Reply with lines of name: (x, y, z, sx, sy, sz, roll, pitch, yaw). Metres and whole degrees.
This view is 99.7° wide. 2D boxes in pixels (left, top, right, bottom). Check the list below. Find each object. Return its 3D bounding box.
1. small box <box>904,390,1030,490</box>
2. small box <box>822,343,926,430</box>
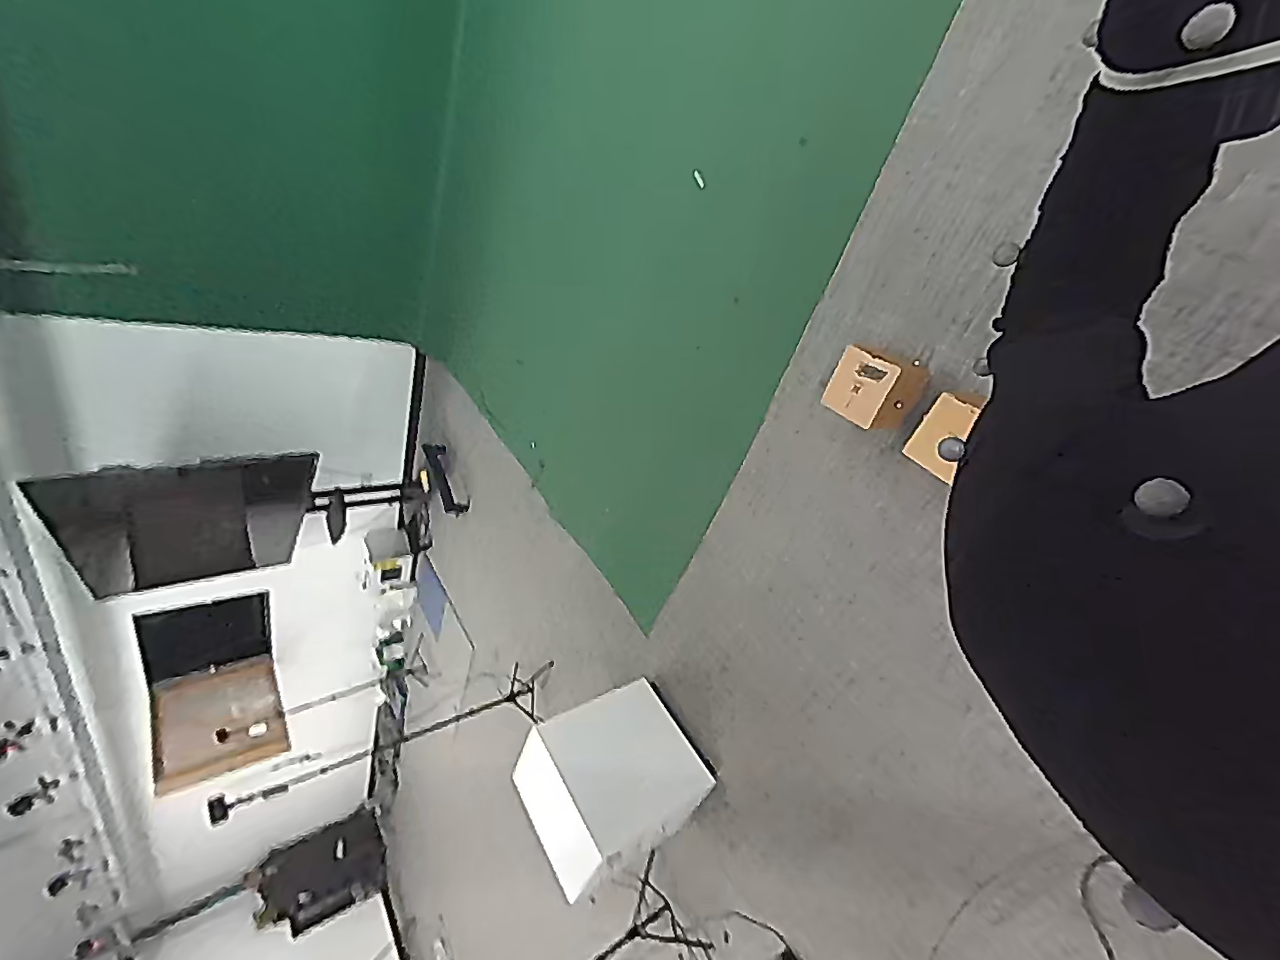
small box: (0.786, -0.098, 1.296, 0.168, 0.176, 0.179, 47, 128, 36)
small box: (0.636, -0.251, 1.458, 0.168, 0.176, 0.179, 44, 127, 38)
